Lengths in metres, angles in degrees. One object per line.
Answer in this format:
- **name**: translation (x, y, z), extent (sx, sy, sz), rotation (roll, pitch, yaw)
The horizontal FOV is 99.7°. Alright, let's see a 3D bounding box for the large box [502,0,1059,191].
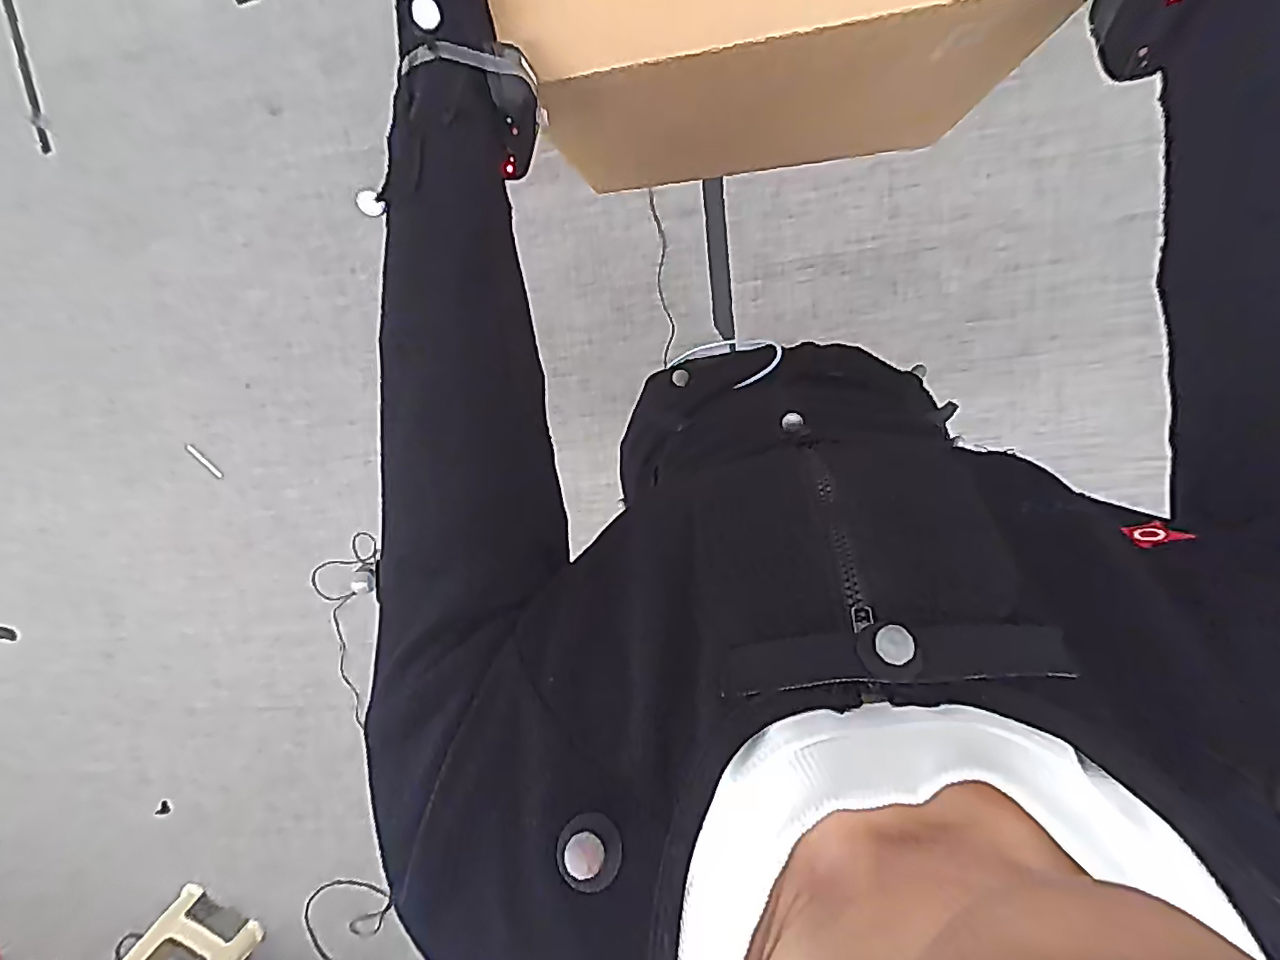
- **large box**: translation (0.102, -0.491, 0.477), extent (0.408, 0.320, 0.320), rotation (-4, 105, 9)
